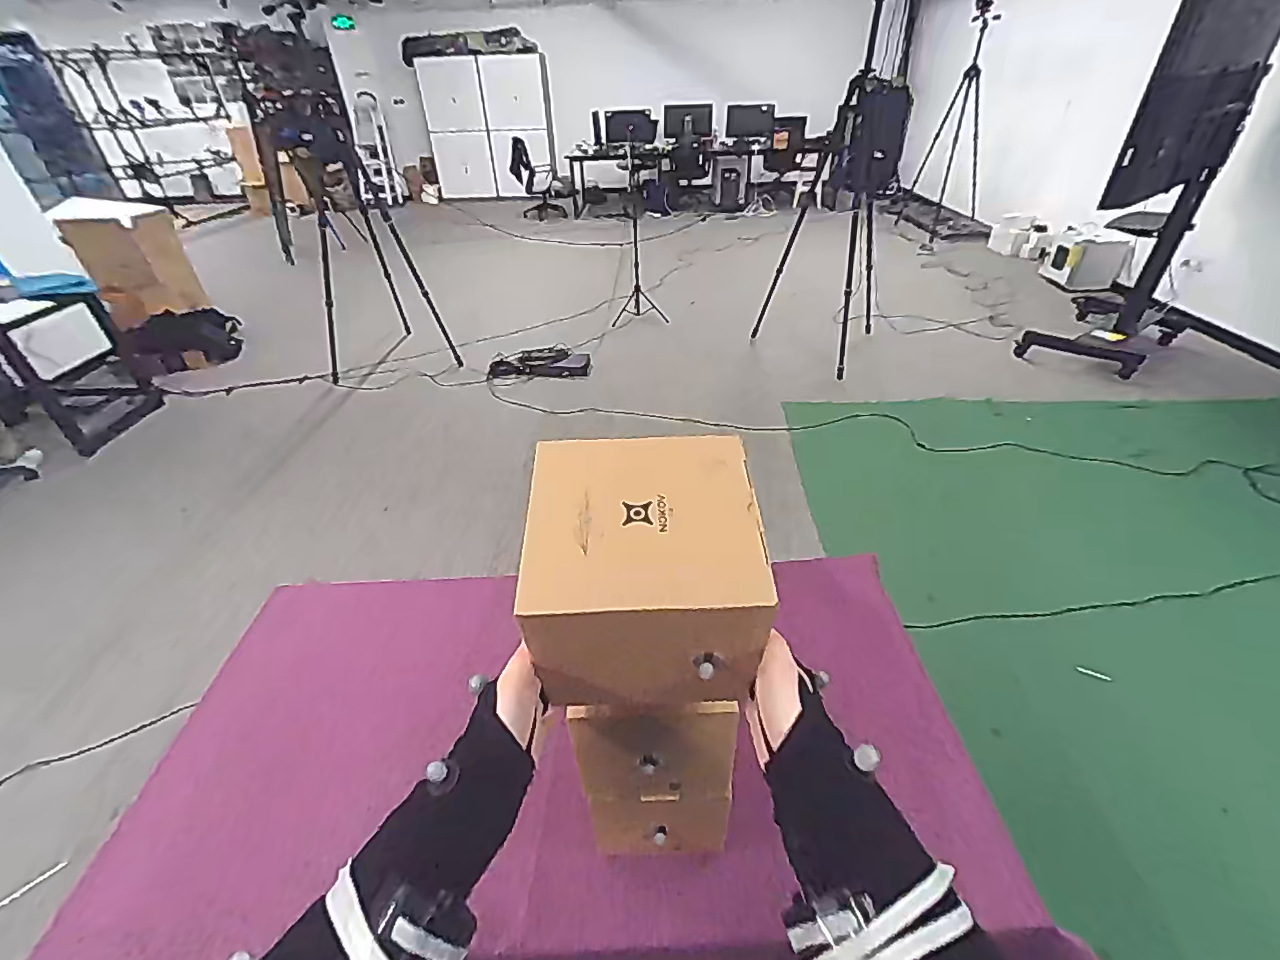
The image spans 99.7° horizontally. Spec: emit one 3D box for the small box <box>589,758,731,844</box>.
[{"bbox_3d":[0.027,0.365,0.725,0.168,0.176,0.179,-2,38,1],"label":"small box"}]

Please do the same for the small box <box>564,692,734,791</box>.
[{"bbox_3d":[0.014,0.234,0.623,0.168,0.176,0.179,0,35,2],"label":"small box"}]

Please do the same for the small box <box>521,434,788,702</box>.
[{"bbox_3d":[0.010,0.078,0.460,0.179,0.176,0.168,-2,49,0],"label":"small box"}]
